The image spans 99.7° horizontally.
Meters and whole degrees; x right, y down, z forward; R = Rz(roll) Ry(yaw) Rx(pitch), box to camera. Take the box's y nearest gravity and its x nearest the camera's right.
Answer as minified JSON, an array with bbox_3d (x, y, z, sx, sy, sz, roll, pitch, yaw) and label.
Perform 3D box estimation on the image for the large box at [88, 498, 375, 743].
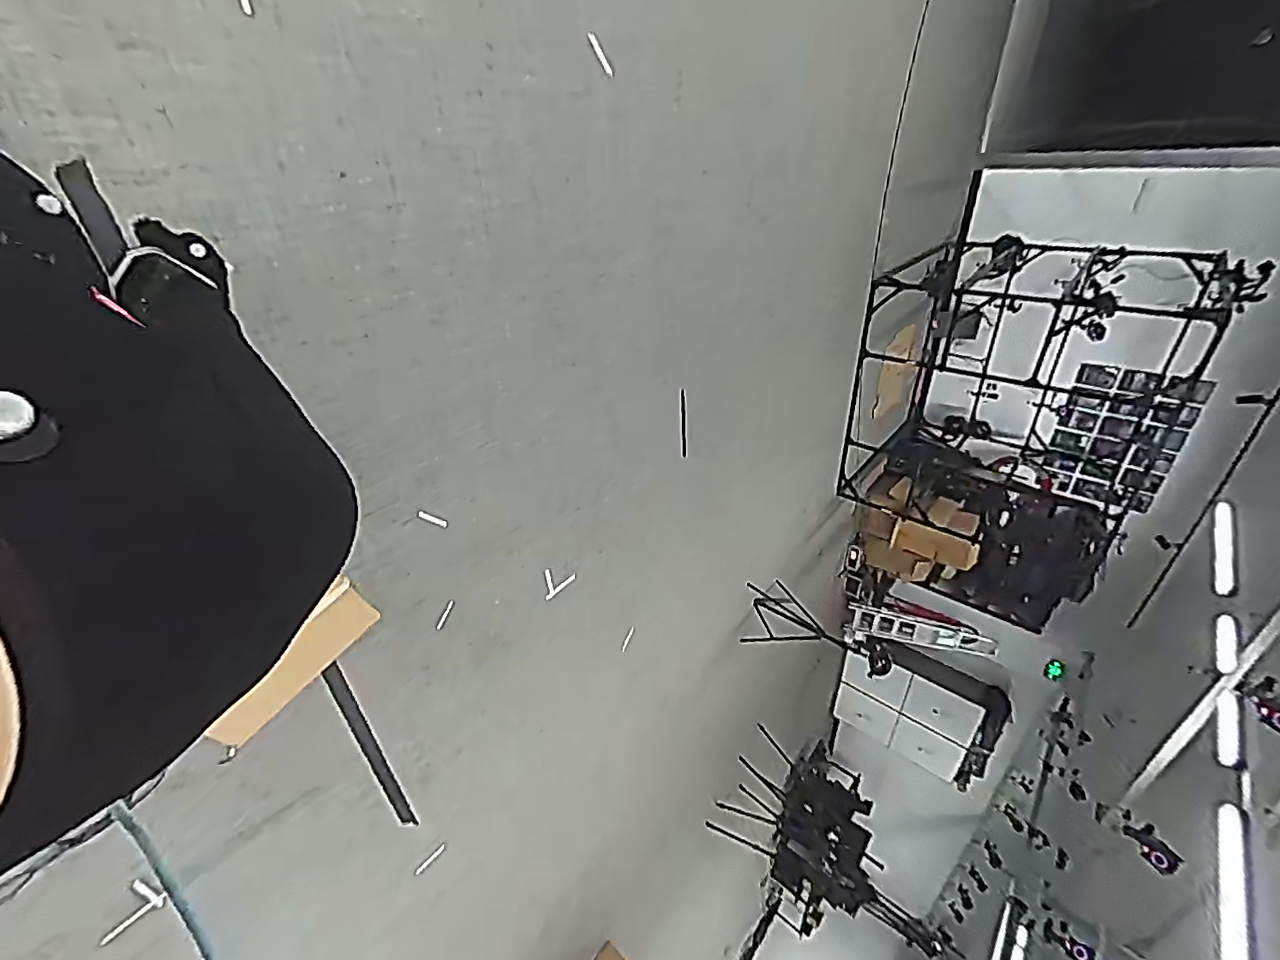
[{"bbox_3d":[-0.949,0.318,1.292,0.408,0.320,0.320,-47,140,-27],"label":"large box"}]
